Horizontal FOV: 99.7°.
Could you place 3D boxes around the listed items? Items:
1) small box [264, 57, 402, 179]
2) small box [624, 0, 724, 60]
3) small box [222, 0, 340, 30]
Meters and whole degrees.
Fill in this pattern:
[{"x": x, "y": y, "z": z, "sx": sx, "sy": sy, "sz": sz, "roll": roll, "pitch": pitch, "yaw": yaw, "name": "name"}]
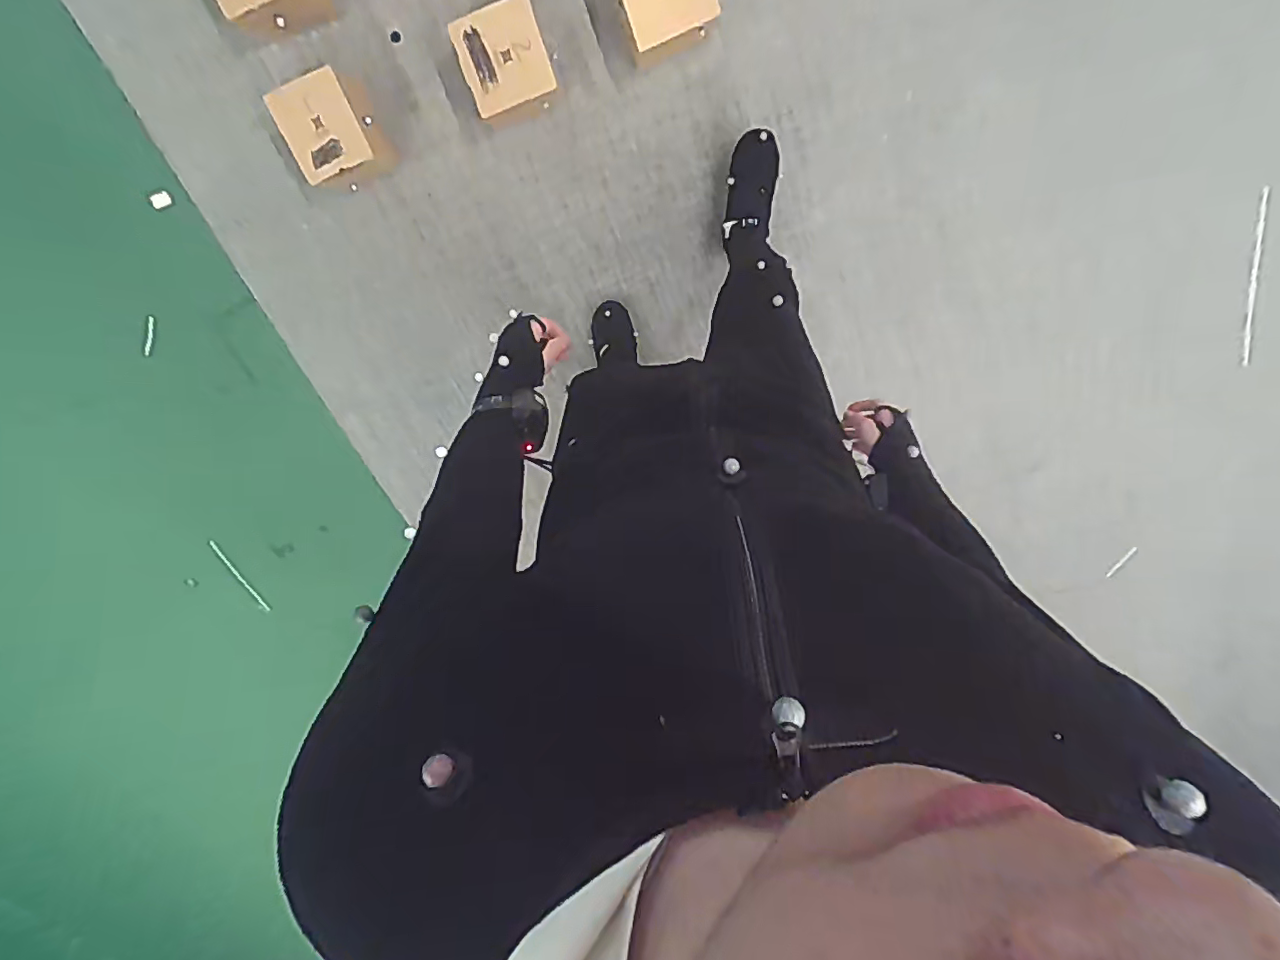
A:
[{"x": -0.665, "y": -0.789, "z": 1.199, "sx": 0.168, "sy": 0.176, "sz": 0.179, "roll": -17, "pitch": 115, "yaw": 8, "name": "small box"}, {"x": 0.057, "y": -0.996, "z": 1.096, "sx": 0.179, "sy": 0.176, "sz": 0.168, "roll": -20, "pitch": 115, "yaw": 9, "name": "small box"}, {"x": -0.740, "y": -1.038, "z": 1.072, "sx": 0.179, "sy": 0.176, "sz": 0.168, "roll": -15, "pitch": 116, "yaw": 9, "name": "small box"}]
